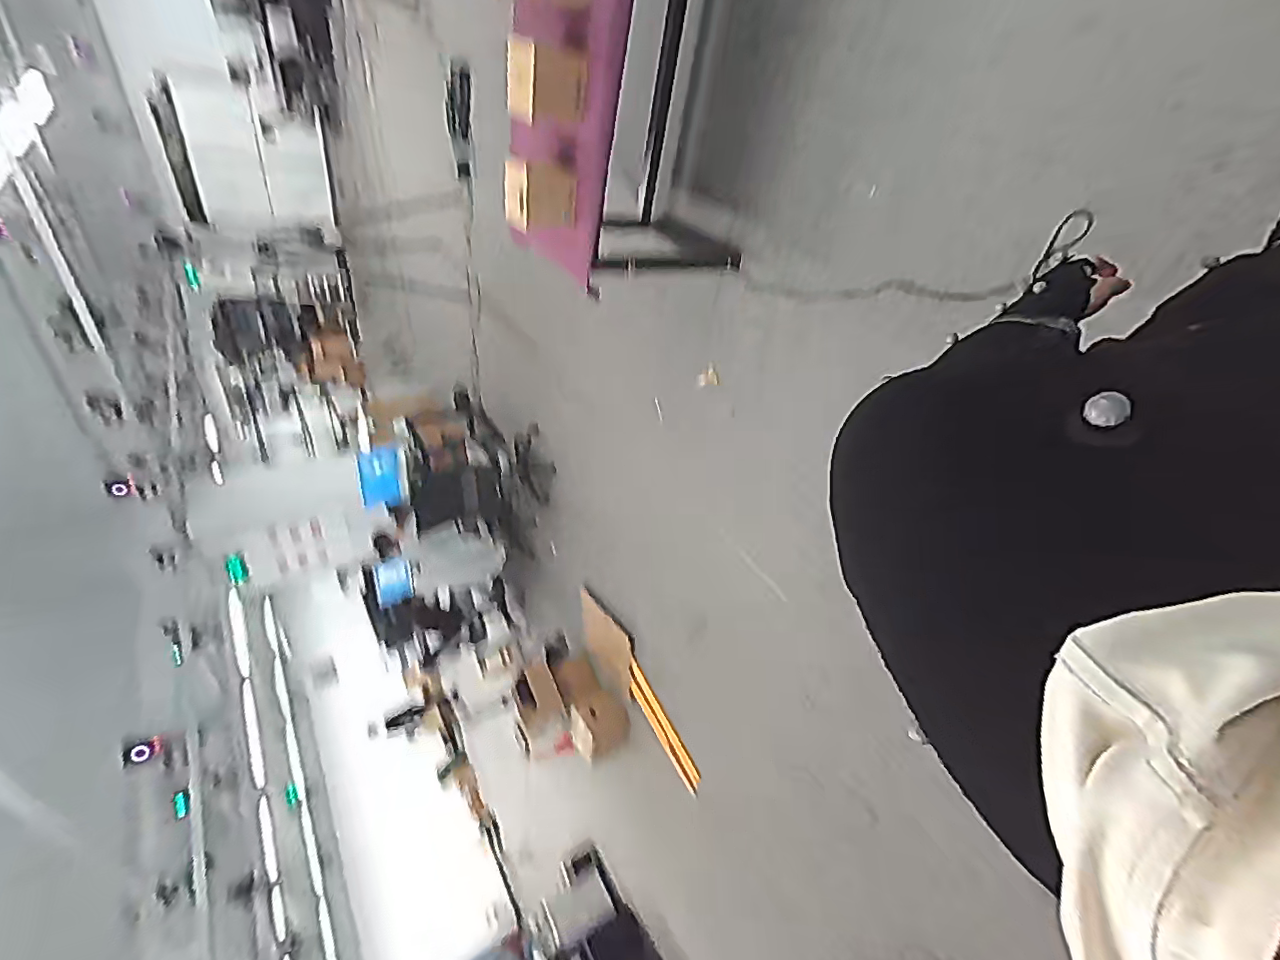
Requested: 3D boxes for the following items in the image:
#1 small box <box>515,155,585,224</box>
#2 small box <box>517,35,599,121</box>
[{"bbox_3d":[-0.287,-0.922,1.718,0.179,0.176,0.168,47,139,41],"label":"small box"},{"bbox_3d":[-0.239,-1.149,1.551,0.179,0.176,0.168,48,140,37],"label":"small box"}]
